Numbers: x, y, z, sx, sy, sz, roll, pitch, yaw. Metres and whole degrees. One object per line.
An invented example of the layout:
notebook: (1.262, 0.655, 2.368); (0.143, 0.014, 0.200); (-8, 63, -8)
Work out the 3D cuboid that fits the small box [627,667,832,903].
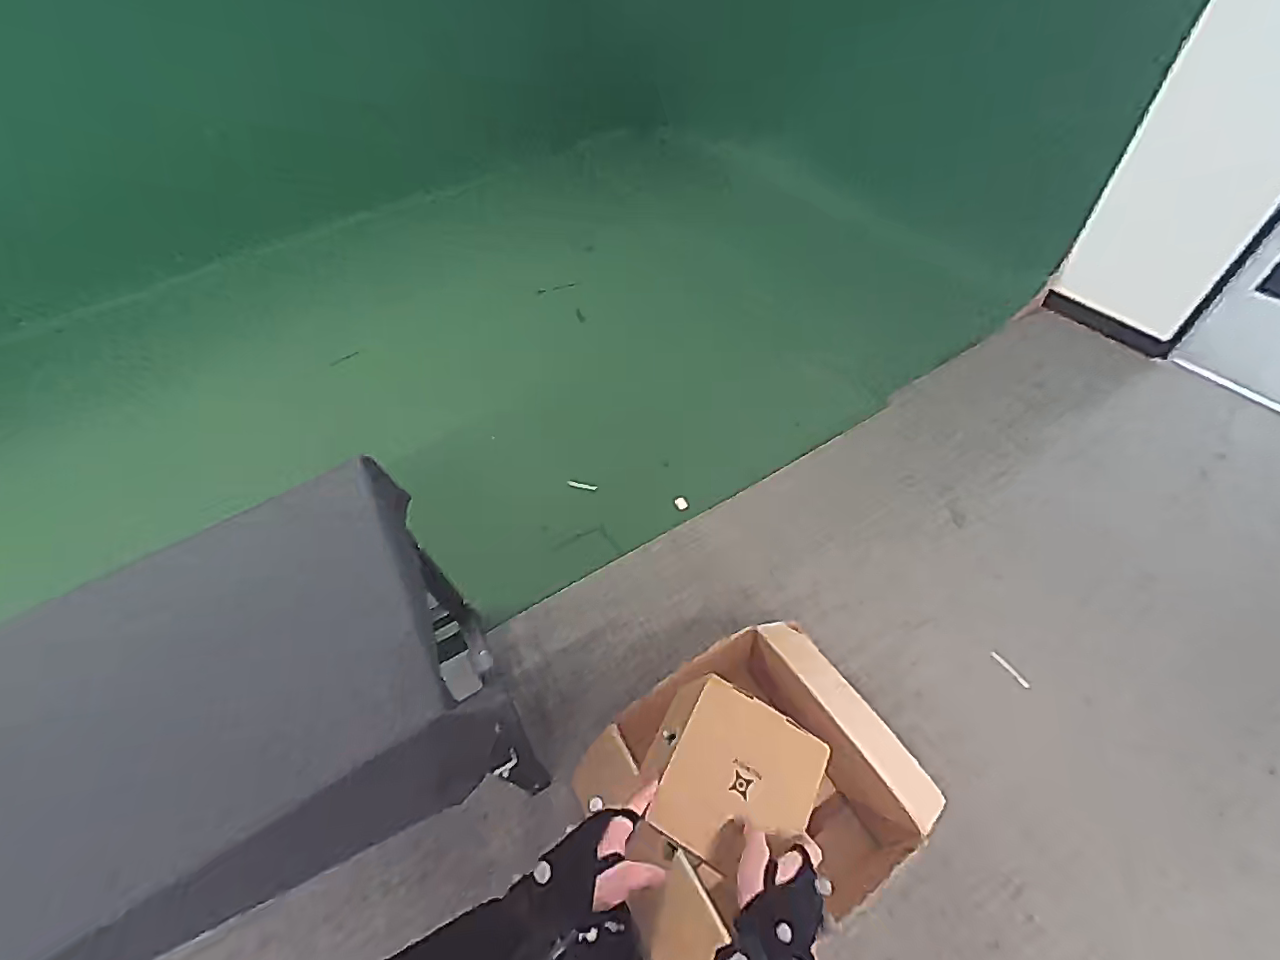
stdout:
small box: (0.099, 0.359, 0.661); (0.168, 0.176, 0.179); (31, 62, 5)
